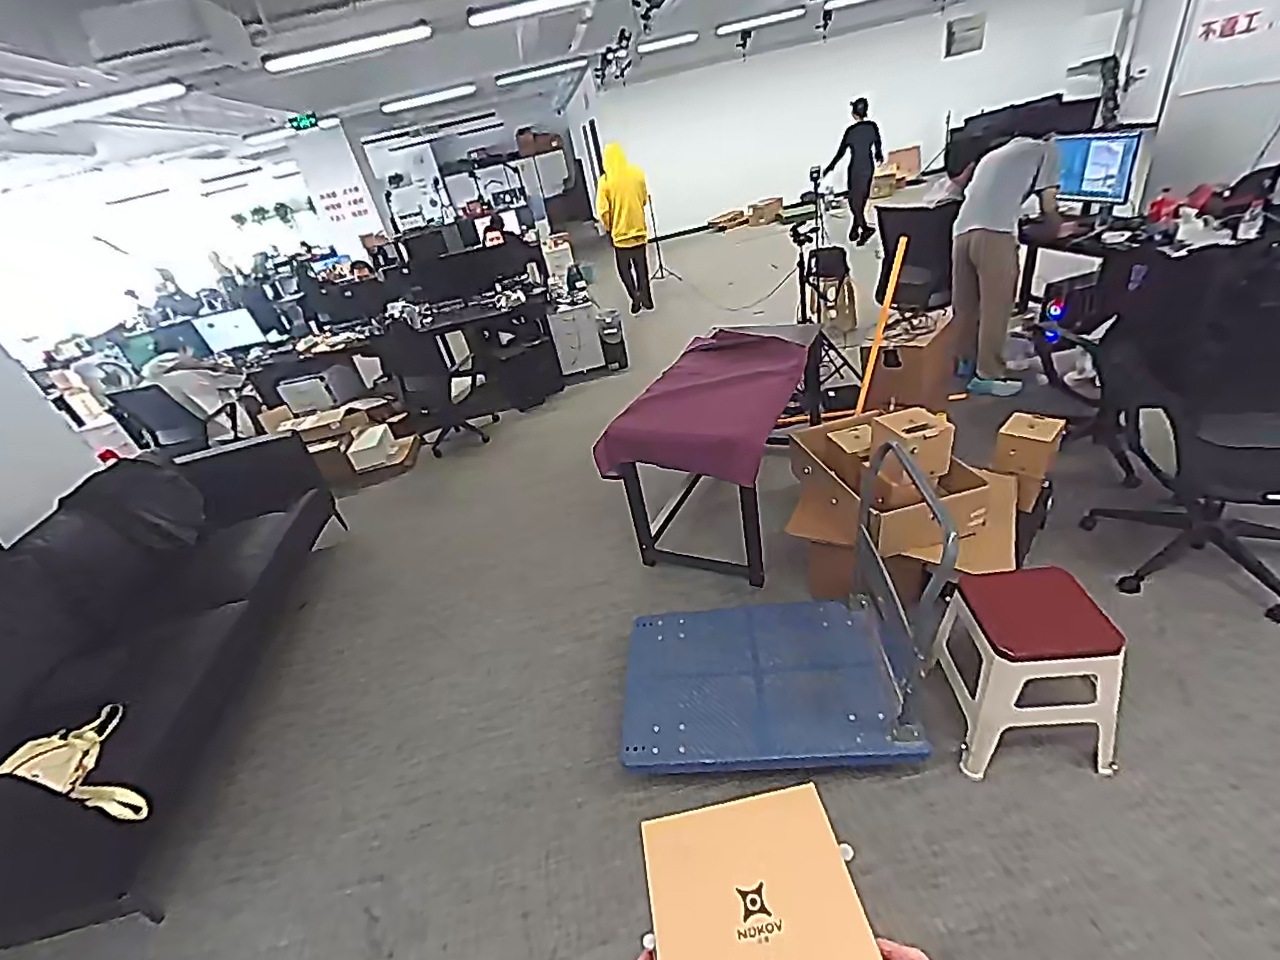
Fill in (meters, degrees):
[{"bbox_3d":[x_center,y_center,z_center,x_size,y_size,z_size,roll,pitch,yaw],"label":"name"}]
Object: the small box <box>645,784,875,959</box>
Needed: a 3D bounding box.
[{"bbox_3d":[0.105,0.413,0.483,0.168,0.176,0.179,-13,35,1],"label":"small box"}]
